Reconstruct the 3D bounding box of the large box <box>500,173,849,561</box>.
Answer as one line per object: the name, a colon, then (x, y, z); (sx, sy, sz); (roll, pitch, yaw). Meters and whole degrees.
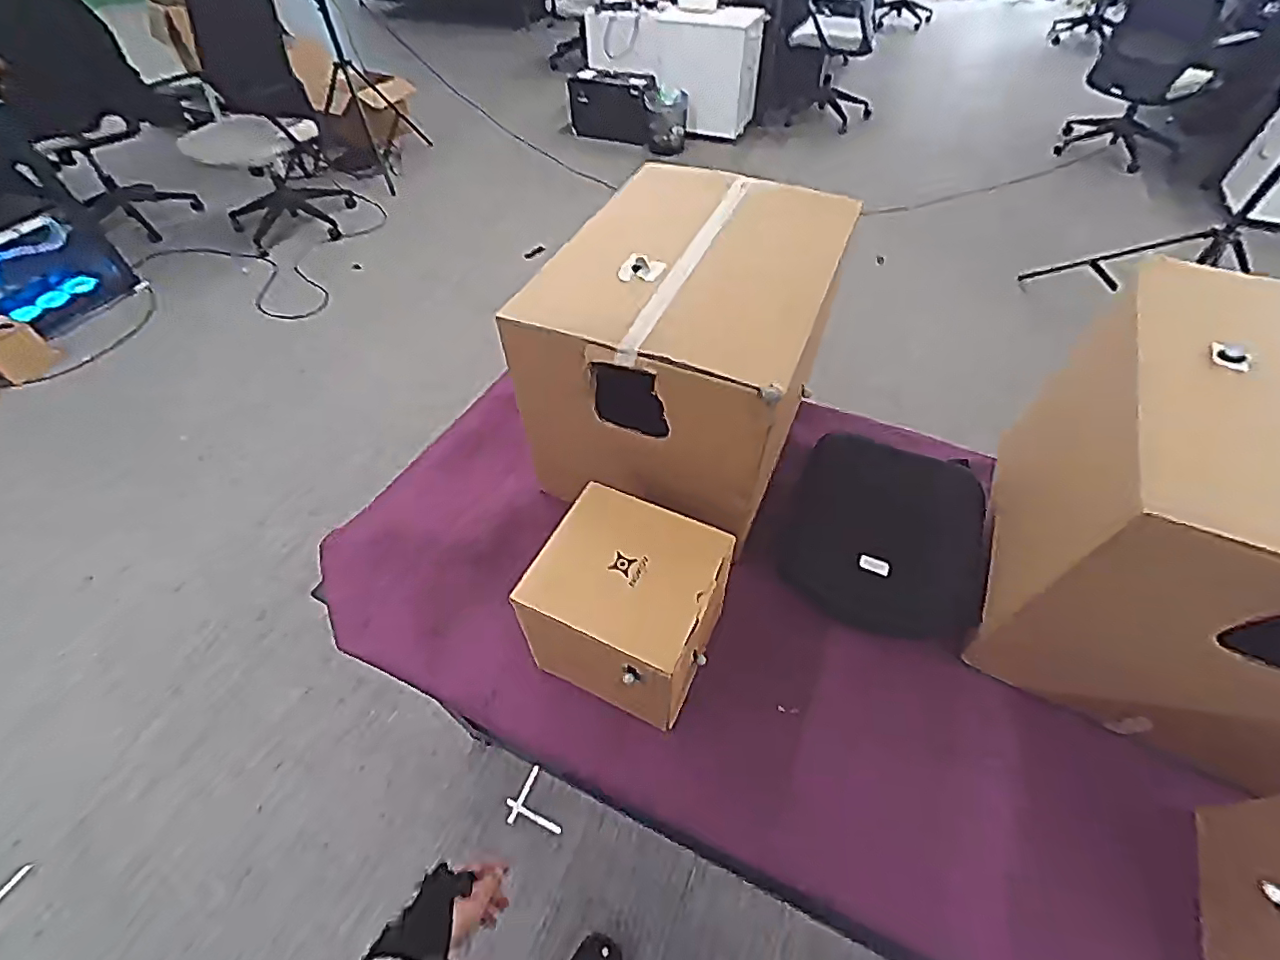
large box: (0.066, -0.166, 0.763); (0.320, 0.320, 0.408); (18, 56, 15)
